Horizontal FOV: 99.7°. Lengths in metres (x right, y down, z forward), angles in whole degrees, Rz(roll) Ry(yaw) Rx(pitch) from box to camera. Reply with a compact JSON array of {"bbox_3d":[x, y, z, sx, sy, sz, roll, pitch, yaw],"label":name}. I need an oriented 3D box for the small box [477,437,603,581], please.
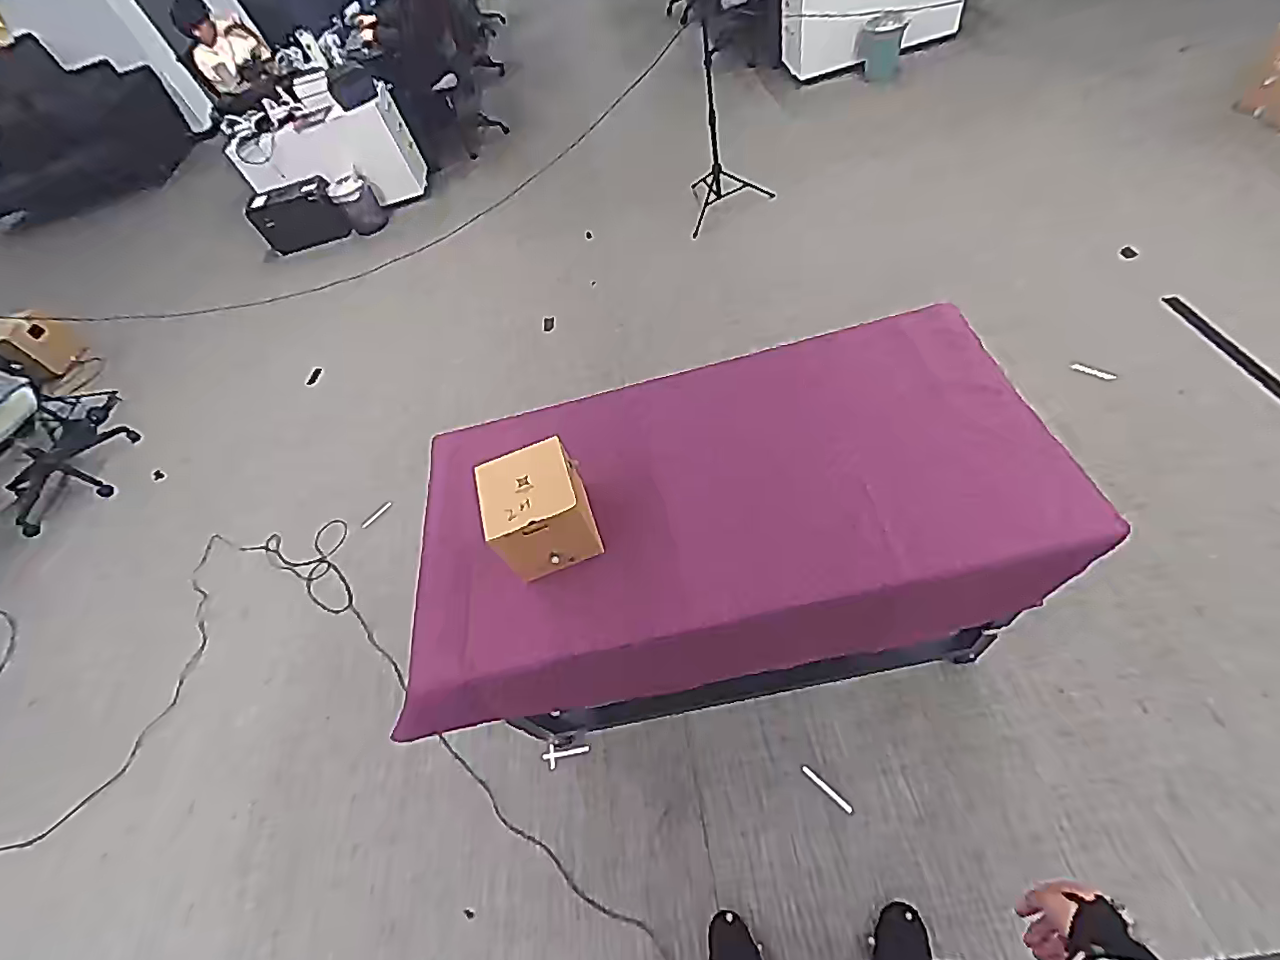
[{"bbox_3d":[-0.183,0.057,1.003,0.168,0.176,0.179,-22,53,0],"label":"small box"}]
